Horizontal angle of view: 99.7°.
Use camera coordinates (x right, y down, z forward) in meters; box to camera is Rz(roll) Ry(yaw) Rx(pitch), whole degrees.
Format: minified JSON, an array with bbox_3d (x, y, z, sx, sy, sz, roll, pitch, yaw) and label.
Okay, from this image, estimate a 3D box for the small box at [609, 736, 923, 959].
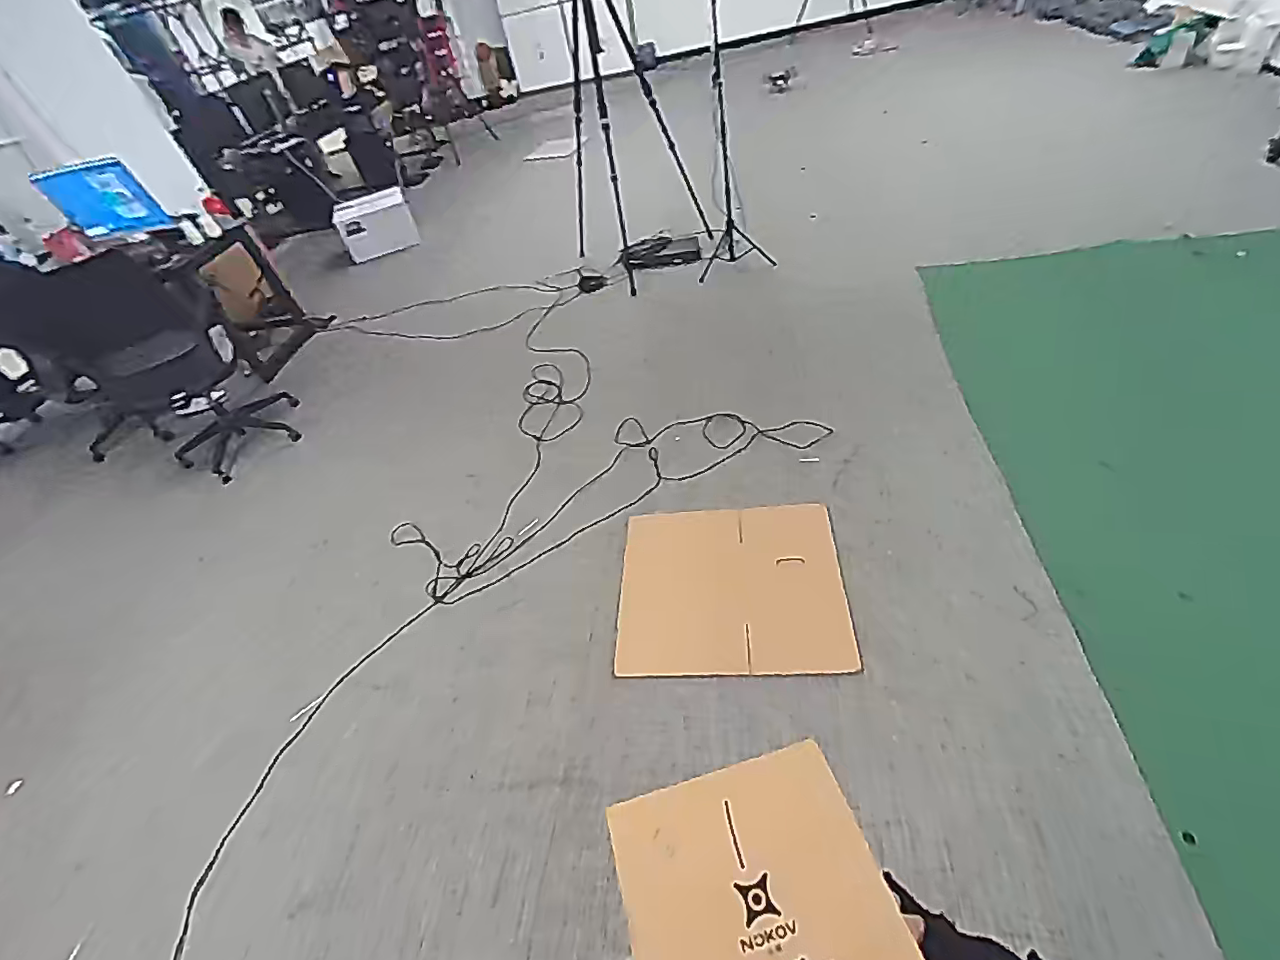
[{"bbox_3d":[0.085,0.325,0.393,0.168,0.176,0.179,-15,44,-6],"label":"small box"}]
